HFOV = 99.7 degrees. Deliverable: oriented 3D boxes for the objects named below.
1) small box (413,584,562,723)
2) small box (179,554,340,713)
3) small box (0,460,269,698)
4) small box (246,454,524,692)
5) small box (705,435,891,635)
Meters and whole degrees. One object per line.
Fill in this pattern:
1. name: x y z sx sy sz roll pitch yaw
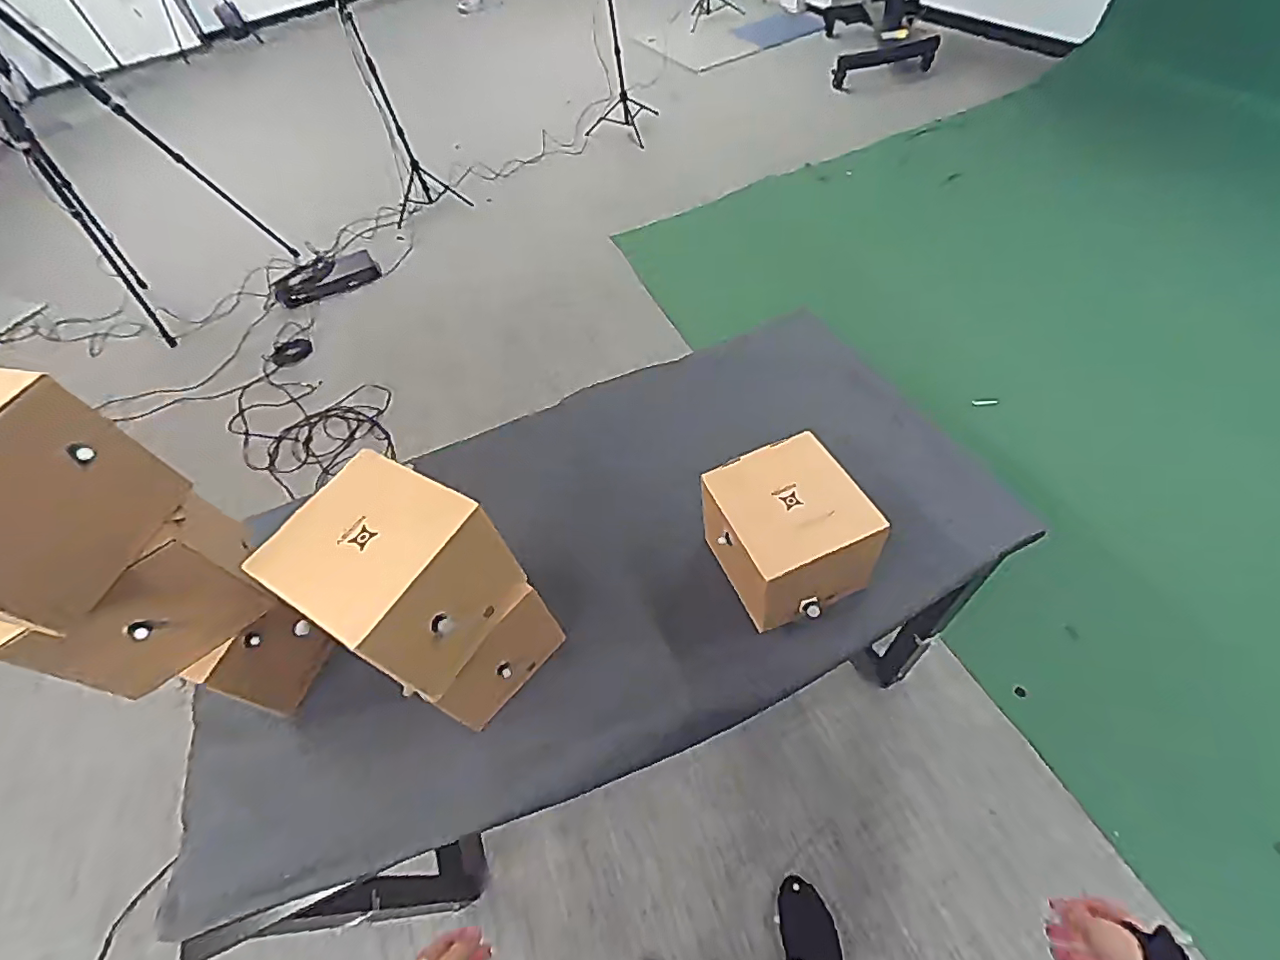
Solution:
1. small box: -0.230 0.195 0.718 0.179 0.176 0.168 33 64 29
2. small box: -0.555 0.211 0.763 0.179 0.176 0.168 10 56 16
3. small box: -0.575 0.117 0.629 0.179 0.176 0.168 -39 58 -18
4. small box: -0.255 0.106 0.585 0.179 0.176 0.168 22 60 24
5. small box: 0.199 0.077 0.731 0.168 0.176 0.179 -23 53 -6
